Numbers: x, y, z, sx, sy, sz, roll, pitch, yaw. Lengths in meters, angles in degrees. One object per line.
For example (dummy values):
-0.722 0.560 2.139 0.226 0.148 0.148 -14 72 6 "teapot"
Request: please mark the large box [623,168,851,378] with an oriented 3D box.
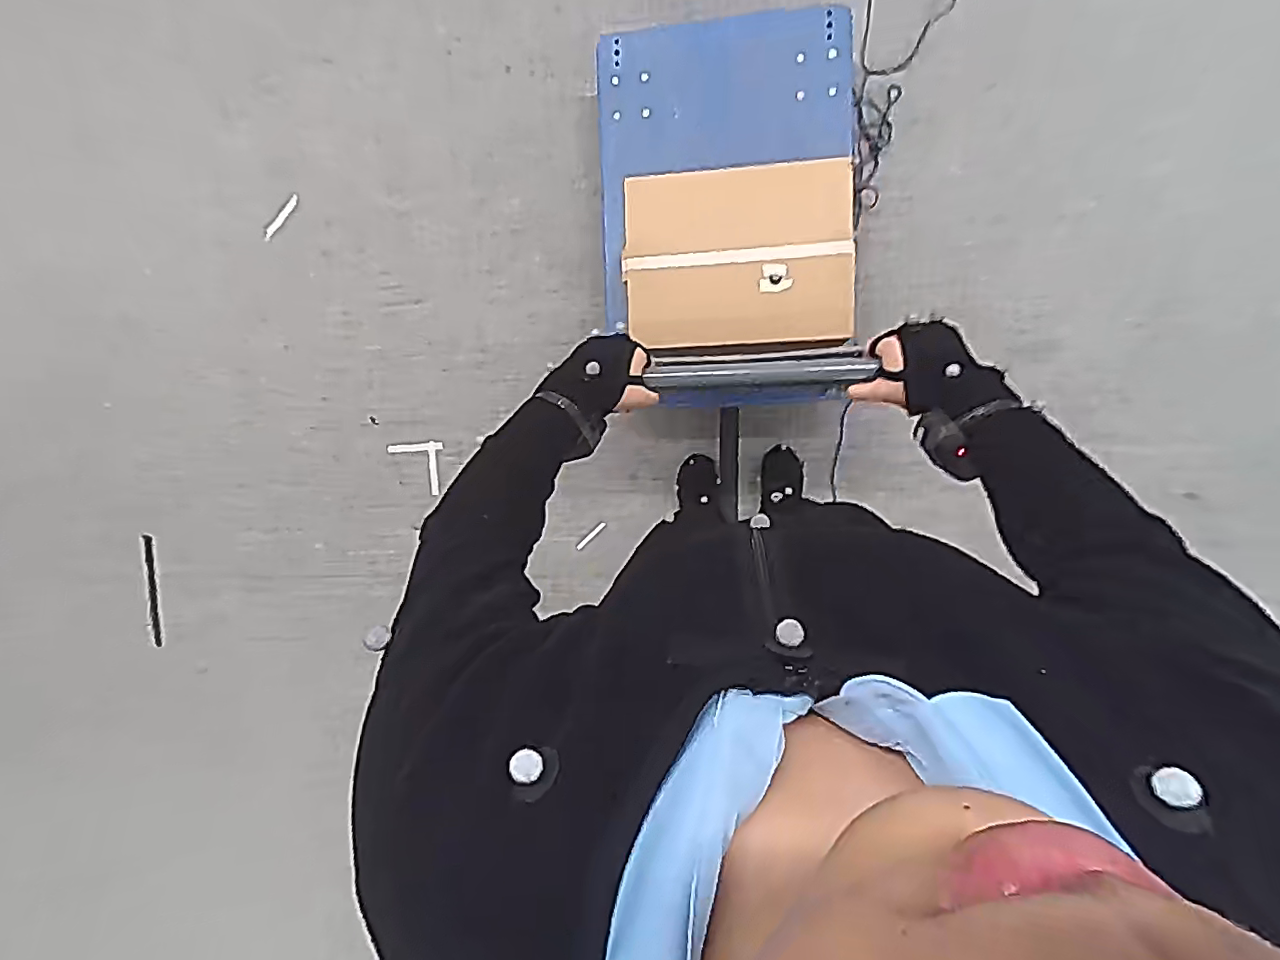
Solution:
0.187 -0.394 1.121 0.408 0.320 0.320 -1 94 7 "large box"
